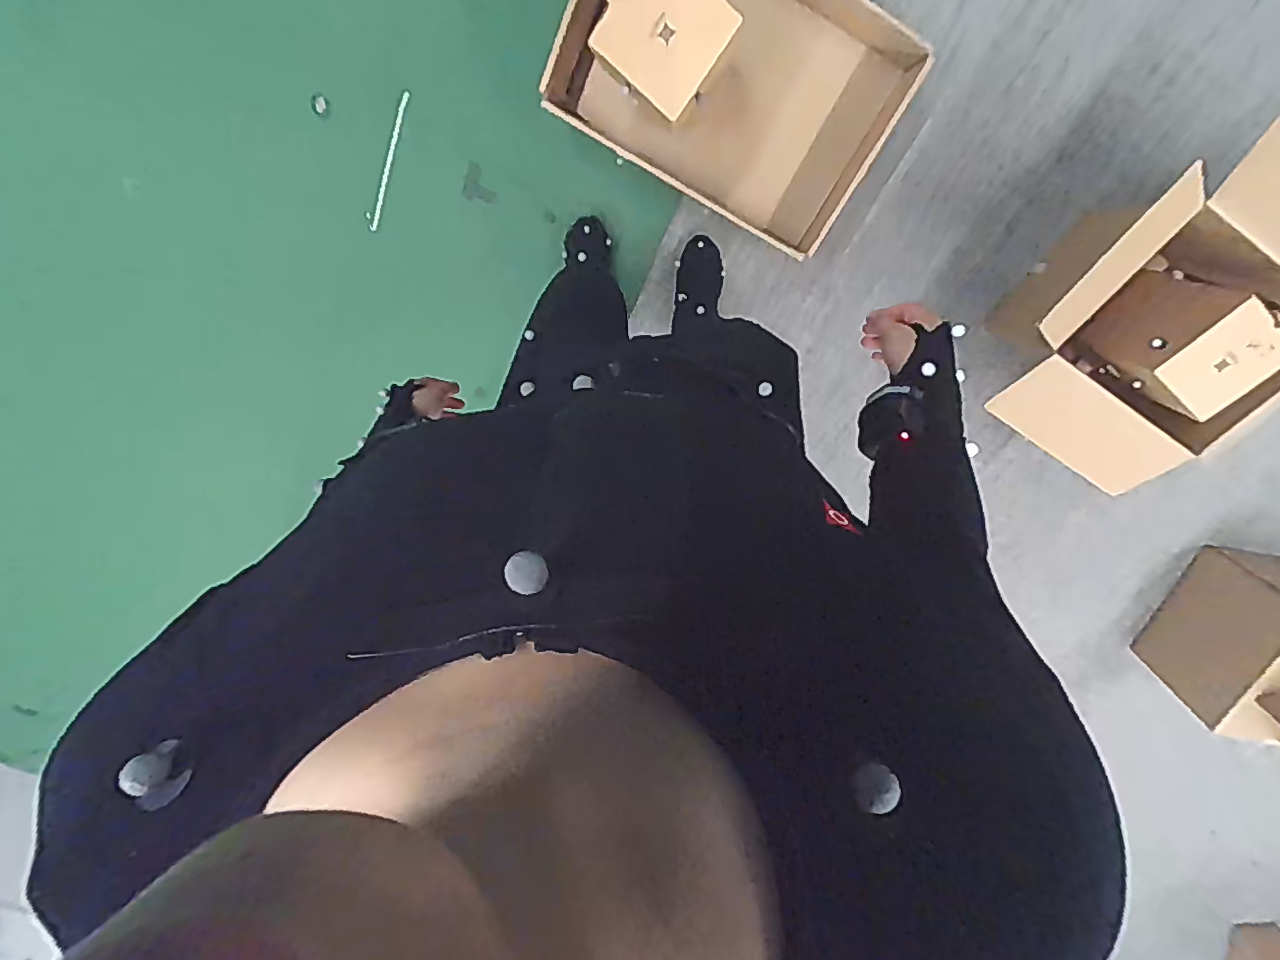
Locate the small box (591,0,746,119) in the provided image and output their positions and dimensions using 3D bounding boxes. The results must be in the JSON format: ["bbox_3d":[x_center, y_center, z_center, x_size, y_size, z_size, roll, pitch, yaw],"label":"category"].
[{"bbox_3d":[0.046,-0.722,0.876,0.179,0.176,0.168,36,114,-13],"label":"small box"}]

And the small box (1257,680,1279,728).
[{"bbox_3d":[1.655,0.576,1.287,0.168,0.176,0.179,-37,106,22],"label":"small box"}]

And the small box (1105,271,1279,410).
[{"bbox_3d":[1.058,-0.273,1.040,0.168,0.176,0.179,33,116,-15],"label":"small box"}]
